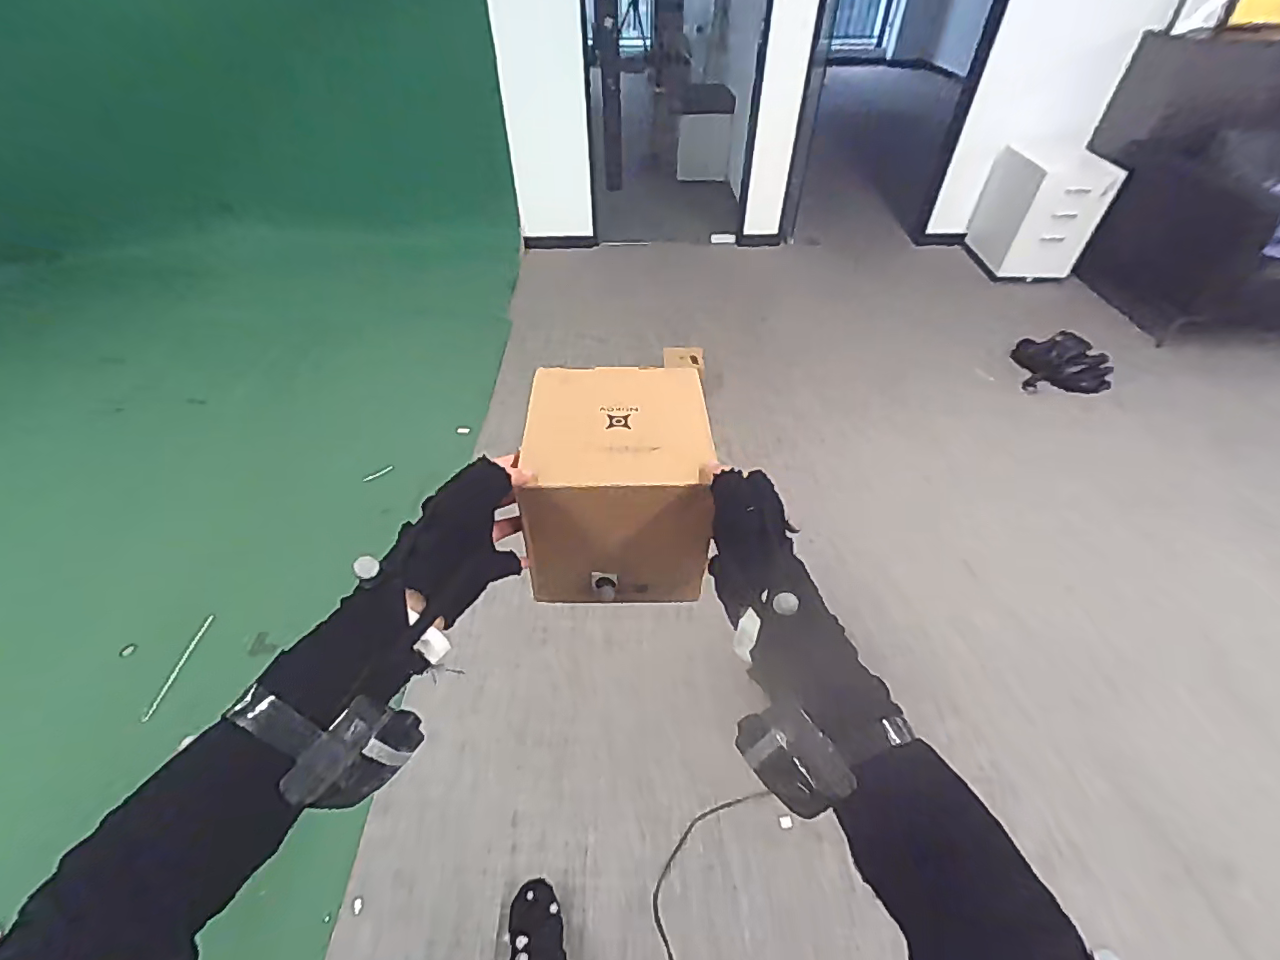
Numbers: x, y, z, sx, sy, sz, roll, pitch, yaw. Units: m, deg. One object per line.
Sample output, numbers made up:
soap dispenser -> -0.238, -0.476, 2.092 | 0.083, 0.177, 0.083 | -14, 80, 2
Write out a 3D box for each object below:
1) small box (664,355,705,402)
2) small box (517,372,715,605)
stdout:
small box -> 0.193, -0.445, 2.427 | 0.179, 0.176, 0.168 | 0, 44, 2
small box -> -0.024, 0.007, 0.554 | 0.168, 0.176, 0.179 | 0, 43, -3
